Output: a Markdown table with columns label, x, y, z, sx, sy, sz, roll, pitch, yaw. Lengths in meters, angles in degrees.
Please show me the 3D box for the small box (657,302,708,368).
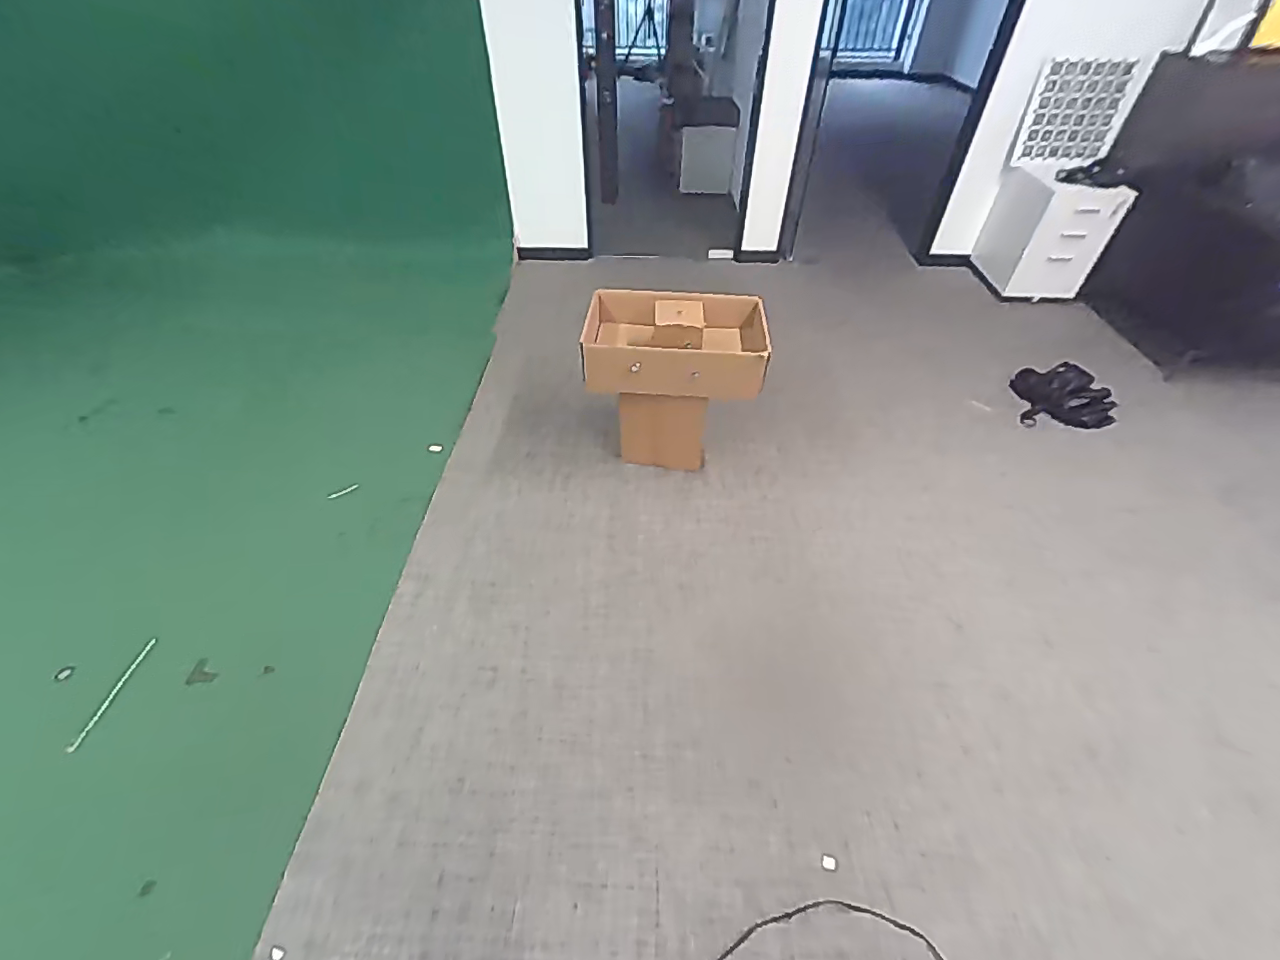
| label | x | y | z | sx | sy | sz | roll | pitch | yaw |
| --- | --- | --- | --- | --- | --- | --- | --- | --- | --- |
| small box | 0.146 | -0.507 | 1.900 | 0.168 | 0.176 | 0.179 | 3 | 43 | 0 |
